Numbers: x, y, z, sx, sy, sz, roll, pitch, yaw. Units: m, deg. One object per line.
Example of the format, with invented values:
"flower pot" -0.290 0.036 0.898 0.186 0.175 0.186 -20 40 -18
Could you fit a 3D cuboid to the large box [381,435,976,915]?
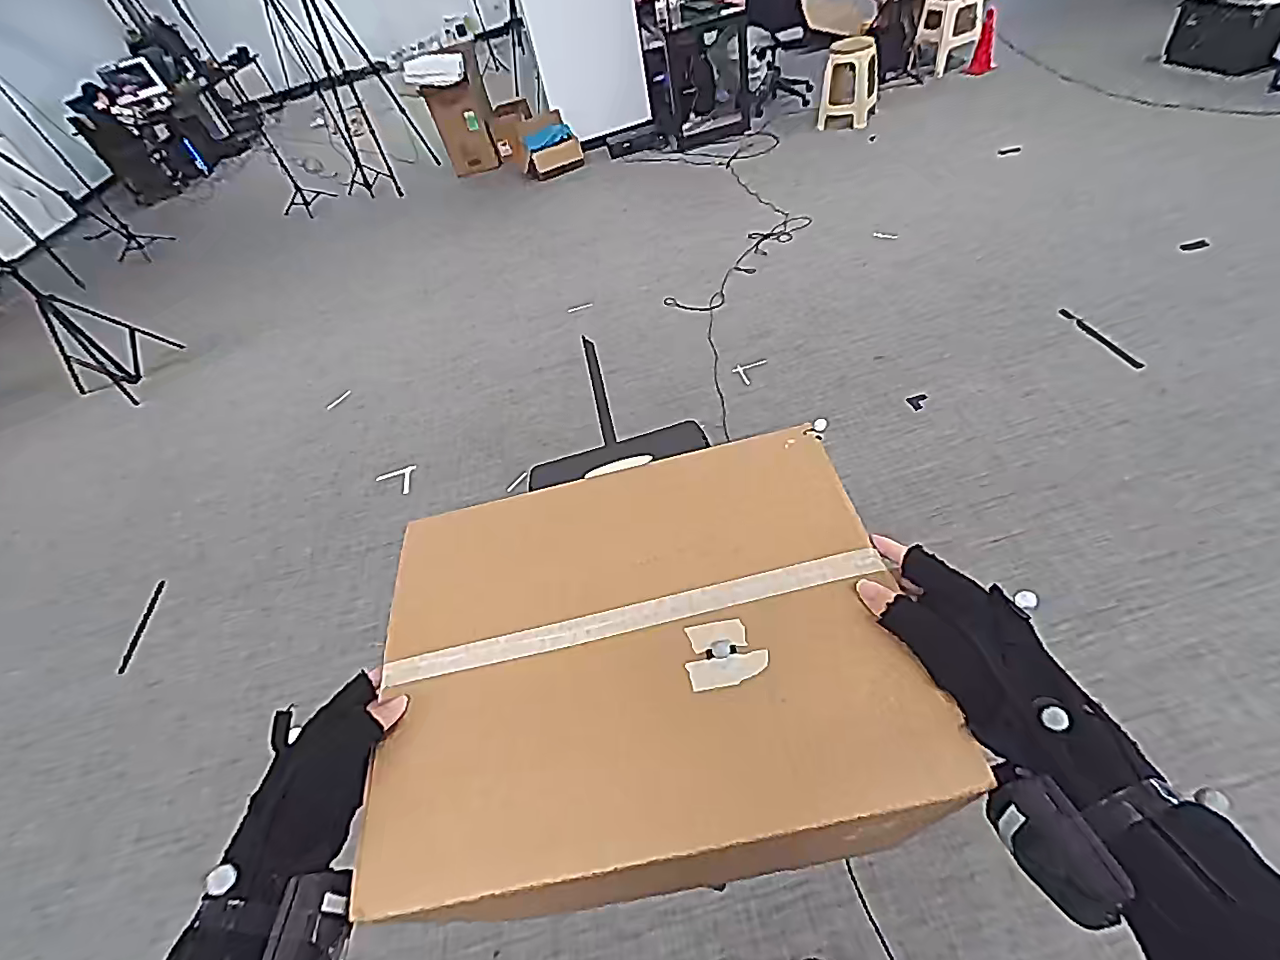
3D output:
"large box" 0.024 0.208 0.553 0.408 0.320 0.320 -13 50 2
